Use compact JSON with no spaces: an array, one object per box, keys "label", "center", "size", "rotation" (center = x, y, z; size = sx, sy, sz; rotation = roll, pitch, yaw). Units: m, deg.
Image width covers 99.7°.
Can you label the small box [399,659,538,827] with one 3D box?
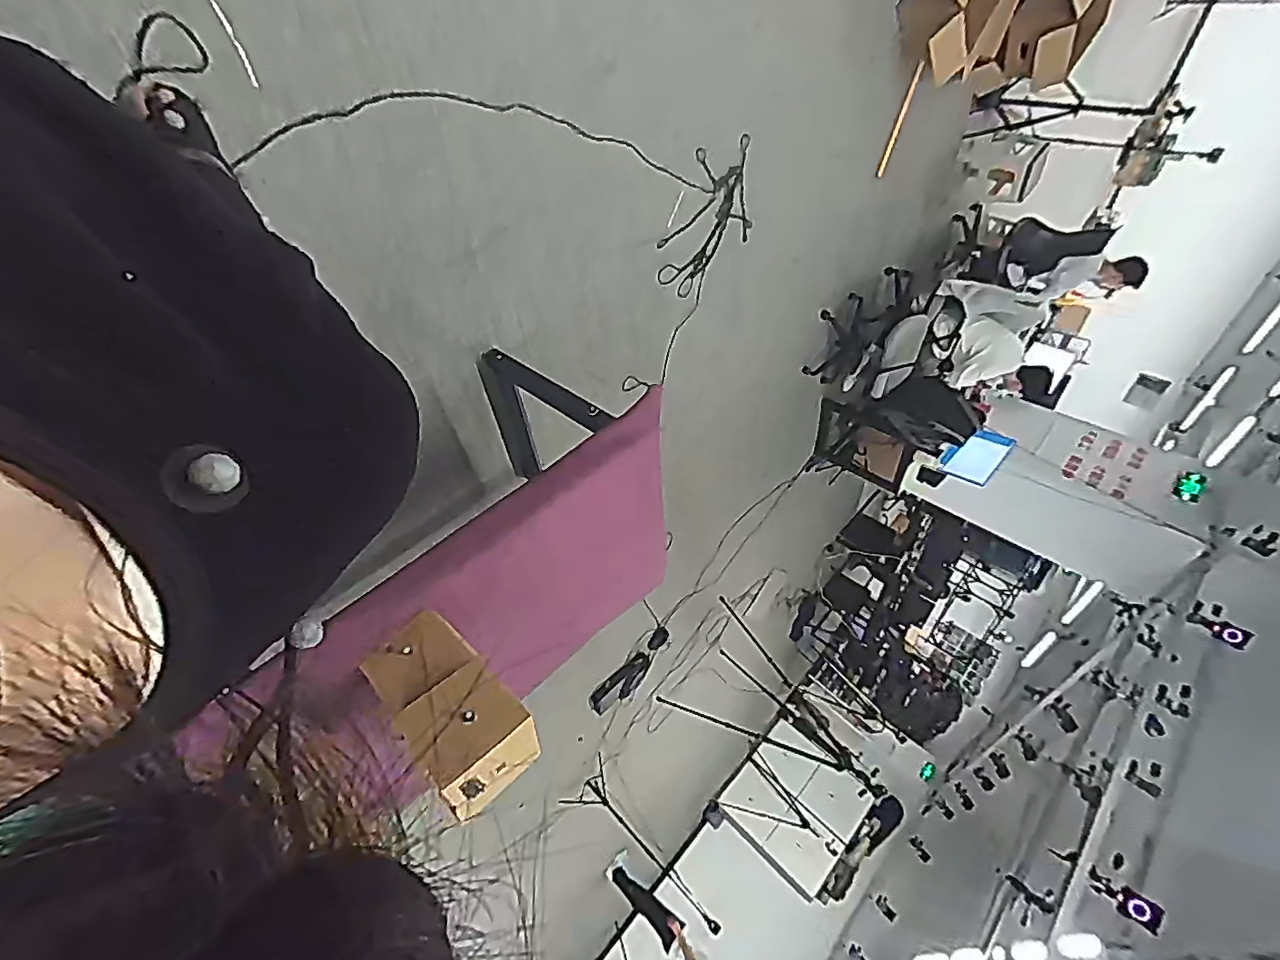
[{"label":"small box","center":[-0.310,0.466,0.977],"size":[0.179,0.176,0.168],"rotation":[-33,142,-34]}]

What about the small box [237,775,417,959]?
[{"label":"small box","center":[-0.497,0.619,0.858],"size":[0.179,0.176,0.168],"rotation":[-38,143,-29]}]

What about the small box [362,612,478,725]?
[{"label":"small box","center":[-0.414,0.398,1.087],"size":[0.168,0.176,0.179],"rotation":[-43,146,-22]}]

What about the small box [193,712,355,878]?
[{"label":"small box","center":[-0.623,0.546,0.935],"size":[0.179,0.176,0.168],"rotation":[-41,144,-24]}]
